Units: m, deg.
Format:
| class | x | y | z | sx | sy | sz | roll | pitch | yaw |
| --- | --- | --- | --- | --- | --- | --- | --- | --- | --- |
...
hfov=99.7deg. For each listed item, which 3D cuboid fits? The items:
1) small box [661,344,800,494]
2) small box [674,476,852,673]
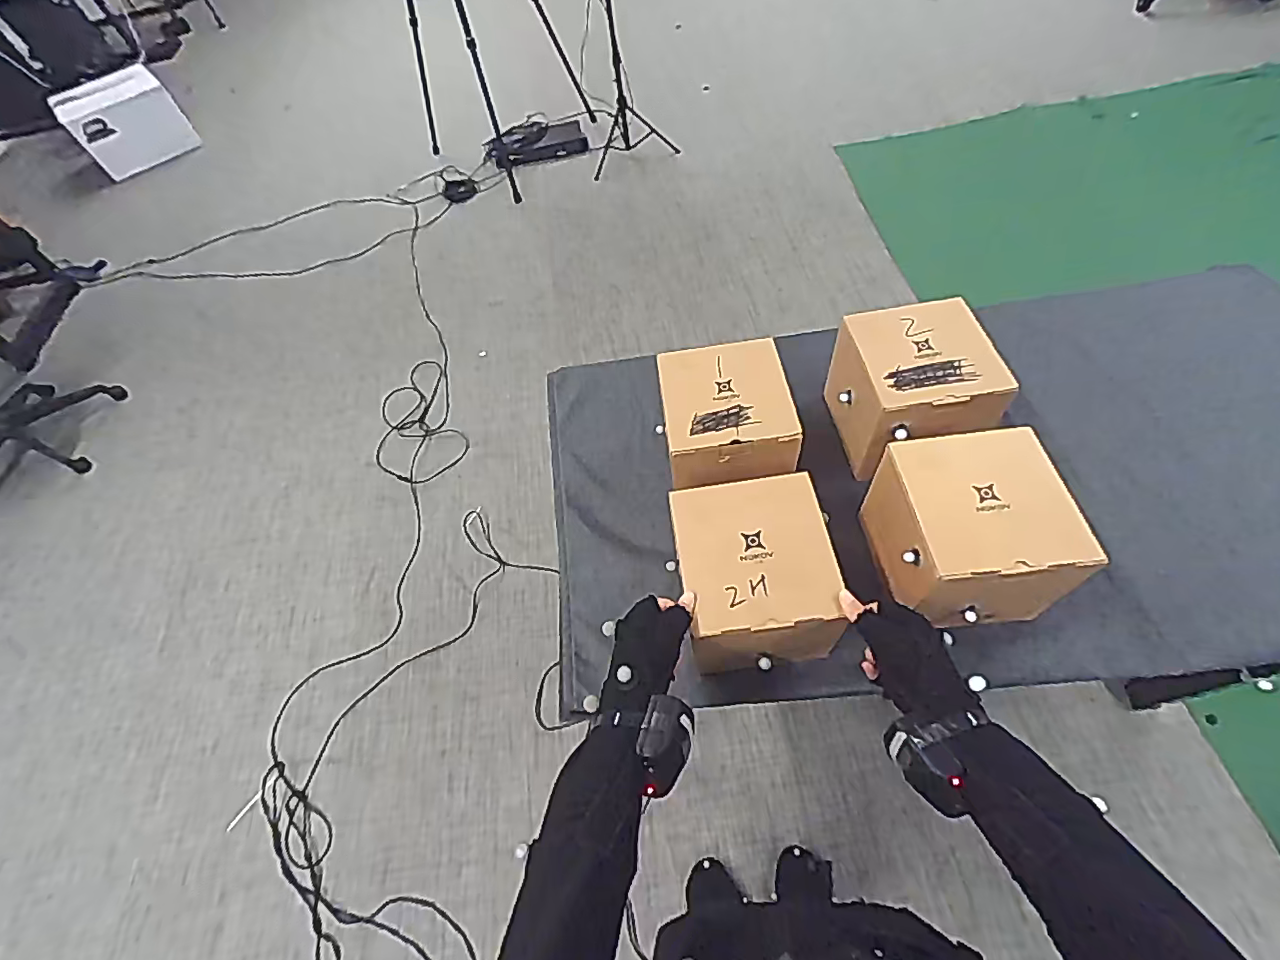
| class | x | y | z | sx | sy | sz | roll | pitch | yaw |
| --- | --- | --- | --- | --- | --- | --- | --- | --- | --- |
| small box | 0.125 | -0.066 | 0.784 | 0.168 | 0.176 | 0.179 | -7 | 56 | 3 |
| small box | 0.136 | 0.120 | 0.661 | 0.168 | 0.176 | 0.179 | -9 | 58 | 3 |
